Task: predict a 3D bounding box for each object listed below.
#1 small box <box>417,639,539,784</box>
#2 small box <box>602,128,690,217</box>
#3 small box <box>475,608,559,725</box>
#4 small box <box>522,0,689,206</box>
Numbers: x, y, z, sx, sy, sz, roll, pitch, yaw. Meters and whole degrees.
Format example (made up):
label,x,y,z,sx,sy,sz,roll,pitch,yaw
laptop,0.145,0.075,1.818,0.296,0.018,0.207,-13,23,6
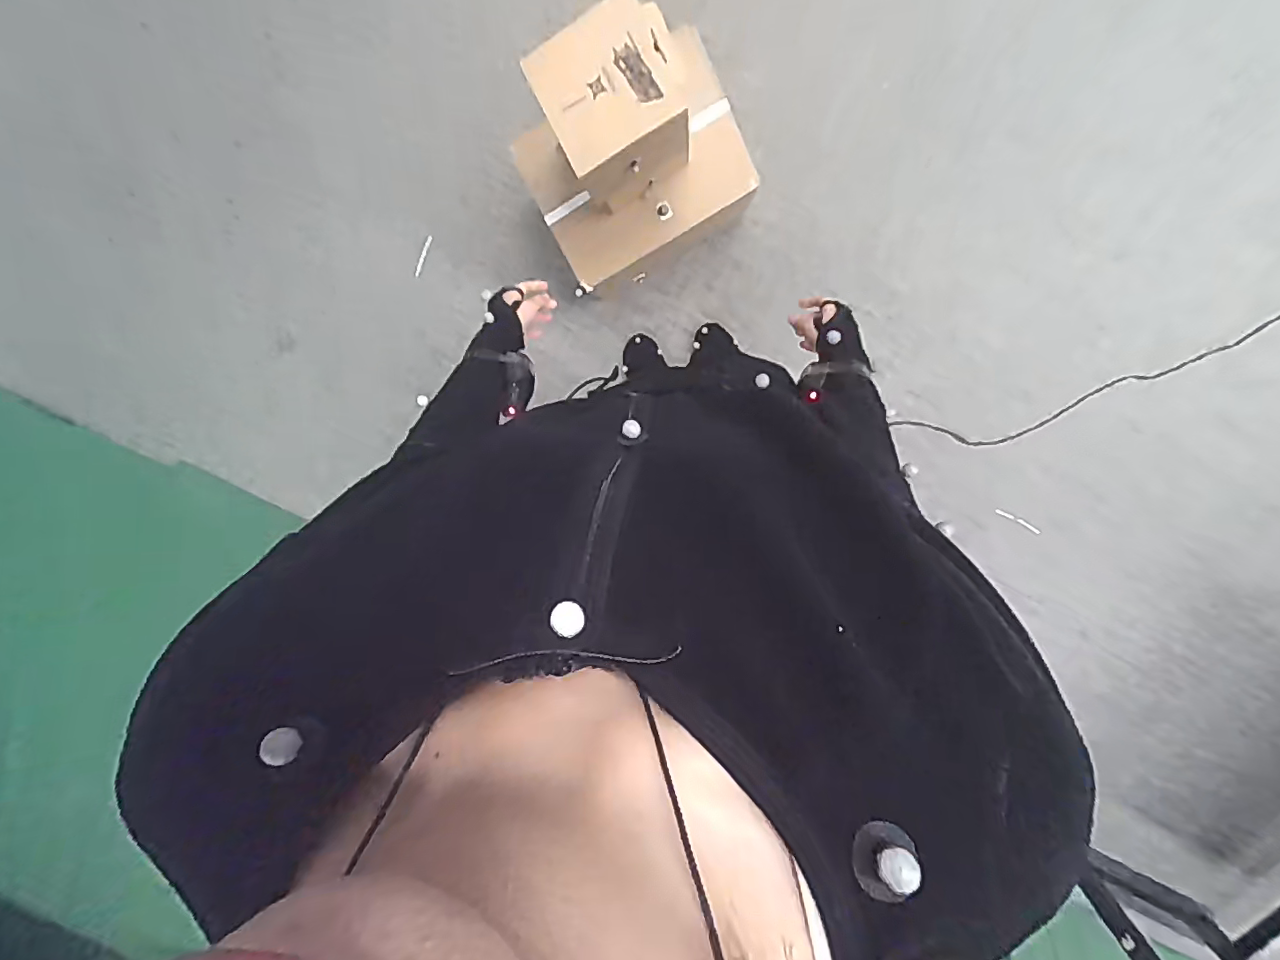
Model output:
label,x,y,z,sx,sy,sz,roll,pitch,yaw
small box,-0.316,0.457,1.088,0.168,0.176,0.179,20,105,-1
small box,-0.030,-0.599,0.952,0.179,0.176,0.168,-31,99,11
small box,-0.299,0.421,1.245,0.179,0.176,0.168,19,105,-1
small box,-0.041,-0.540,0.797,0.179,0.176,0.168,-27,101,12
